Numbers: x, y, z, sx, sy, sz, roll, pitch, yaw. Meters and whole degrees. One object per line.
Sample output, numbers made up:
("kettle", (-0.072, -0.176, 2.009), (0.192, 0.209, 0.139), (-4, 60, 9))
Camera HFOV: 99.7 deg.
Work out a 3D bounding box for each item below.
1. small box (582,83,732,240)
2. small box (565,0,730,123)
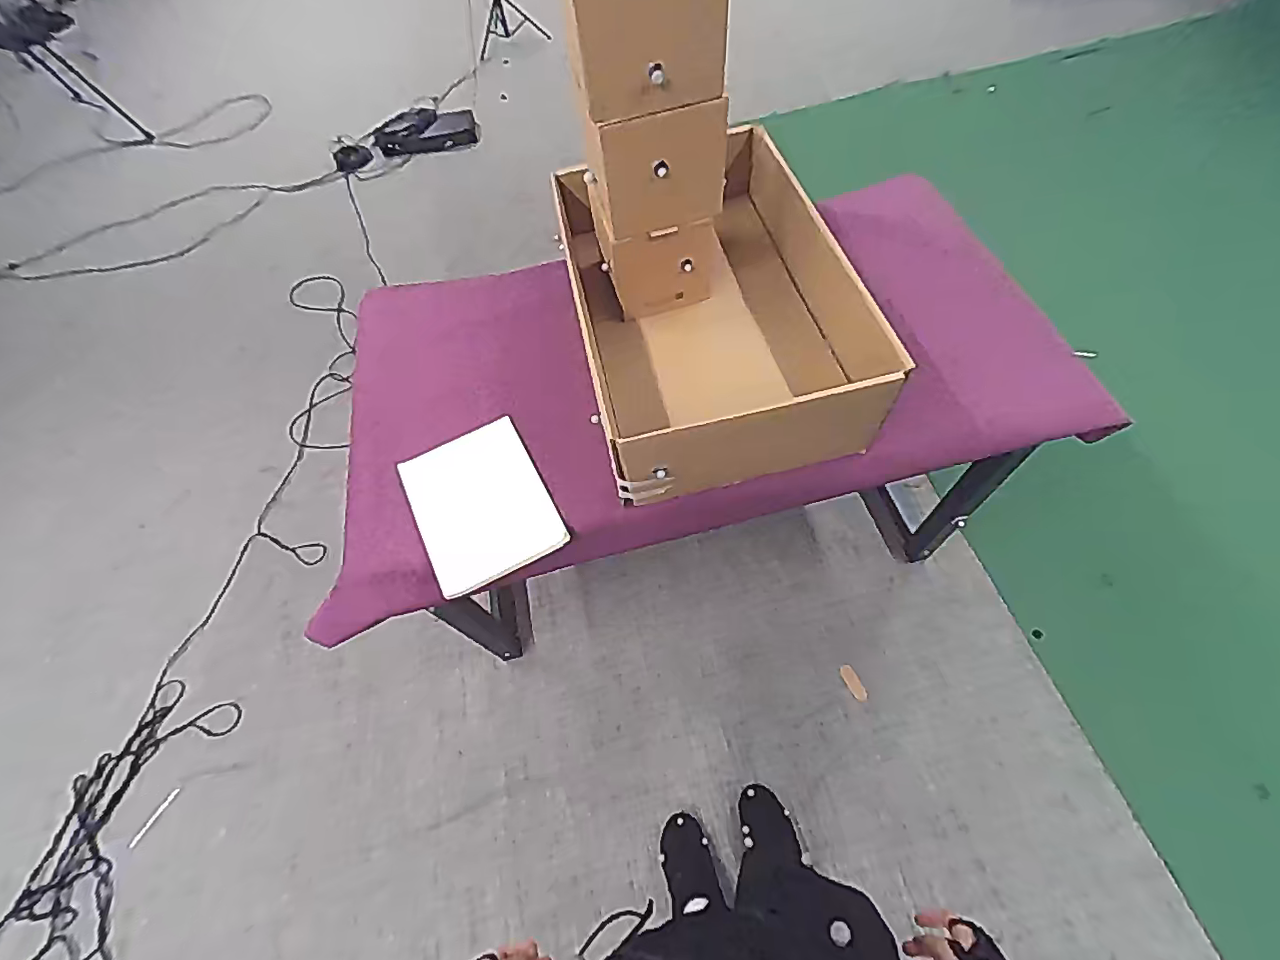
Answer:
("small box", (0.020, -0.486, 0.790), (0.179, 0.176, 0.168), (-16, 61, -3))
("small box", (0.003, -0.568, 0.649), (0.179, 0.176, 0.168), (-13, 60, -3))
